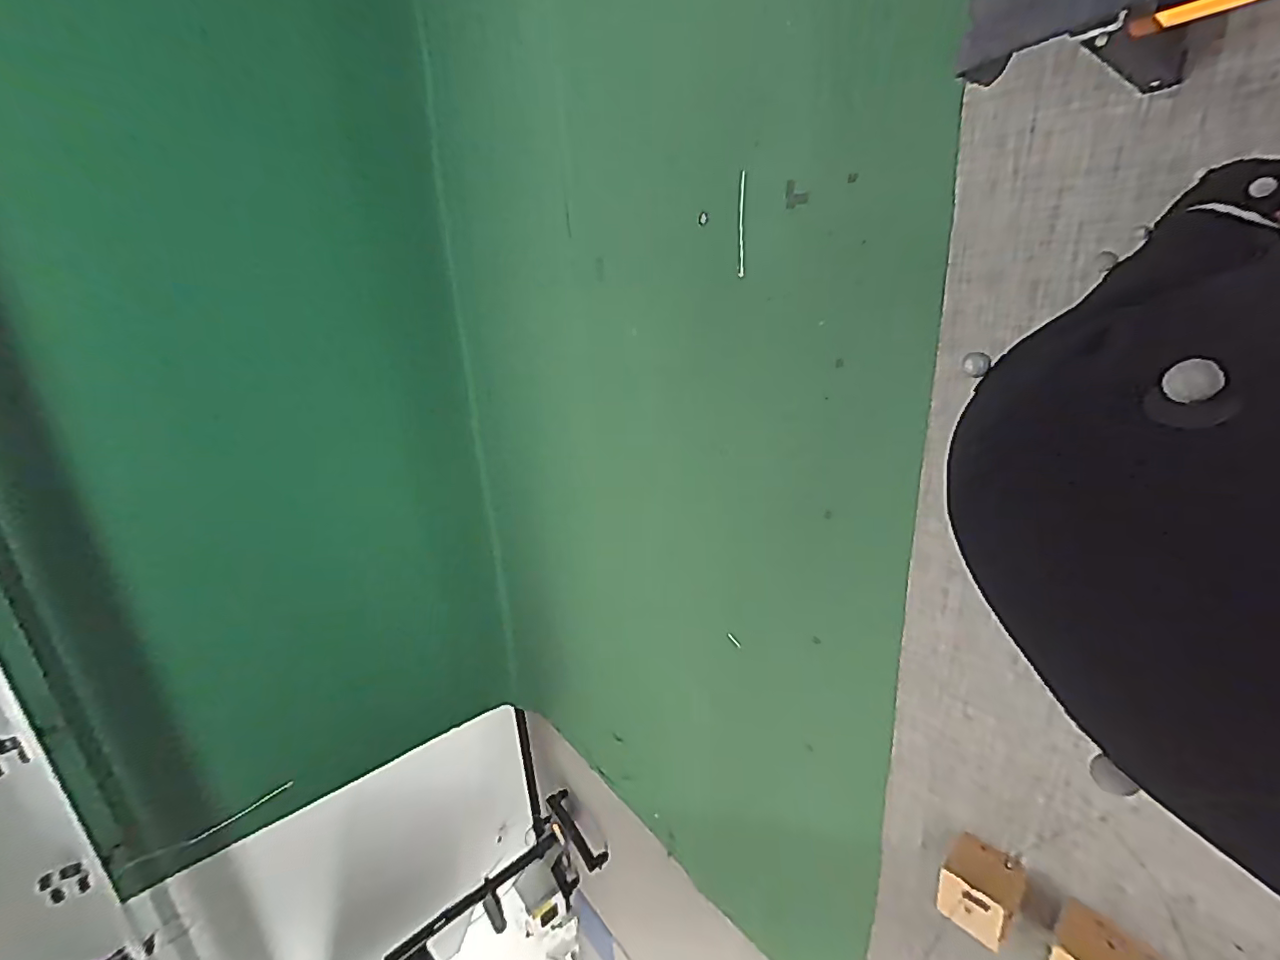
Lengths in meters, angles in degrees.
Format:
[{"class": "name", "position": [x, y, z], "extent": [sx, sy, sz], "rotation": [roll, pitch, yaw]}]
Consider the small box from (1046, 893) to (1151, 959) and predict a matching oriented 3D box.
[{"class": "small box", "position": [1.186, 1.244, 1.404], "extent": [0.168, 0.176, 0.179], "rotation": [21, 120, 48]}]

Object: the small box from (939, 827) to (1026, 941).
[{"class": "small box", "position": [1.017, 1.187, 1.605], "extent": [0.168, 0.176, 0.179], "rotation": [17, 117, 50]}]
